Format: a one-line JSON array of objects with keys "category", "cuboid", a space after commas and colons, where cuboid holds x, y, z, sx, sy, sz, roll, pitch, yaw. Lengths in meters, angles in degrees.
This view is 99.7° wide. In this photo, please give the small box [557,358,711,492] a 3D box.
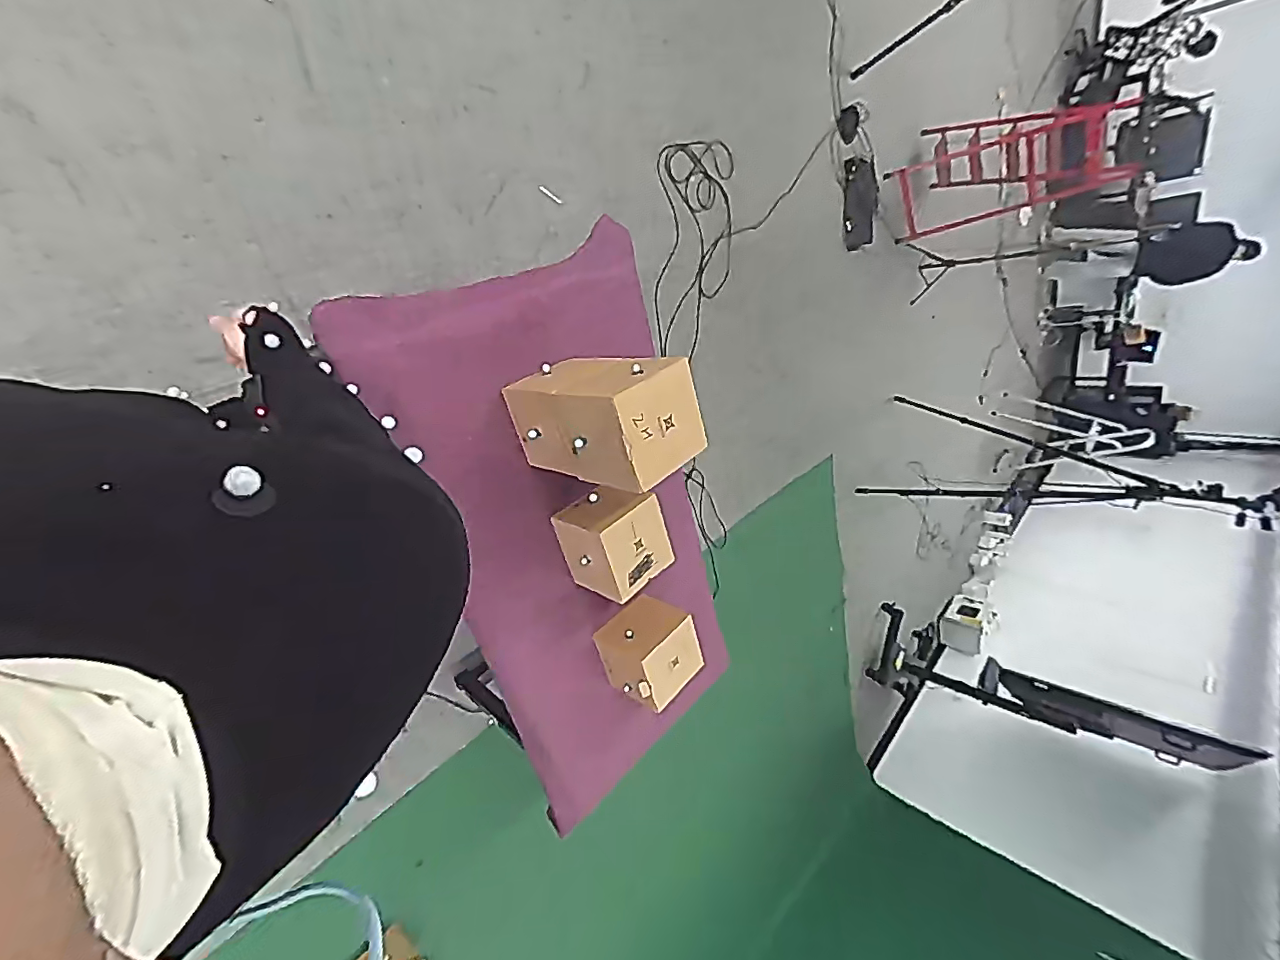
[{"category": "small box", "cuboid": [-0.010, -0.102, 0.923, 0.179, 0.176, 0.168, -34, 120, -33]}]

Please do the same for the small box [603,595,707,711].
[{"category": "small box", "cuboid": [0.031, 0.405, 1.296, 0.179, 0.176, 0.168, -34, 120, -35]}]

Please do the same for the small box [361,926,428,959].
[{"category": "small box", "cuboid": [-0.794, 1.616, 1.764, 0.168, 0.176, 0.179, -34, 121, -35]}]

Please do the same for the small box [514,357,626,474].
[{"category": "small box", "cuboid": [-0.121, -0.130, 1.041, 0.179, 0.176, 0.168, -34, 121, -33]}]

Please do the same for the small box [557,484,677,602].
[{"category": "small box", "cuboid": [-0.050, 0.126, 1.161, 0.168, 0.176, 0.179, -35, 120, -34]}]
